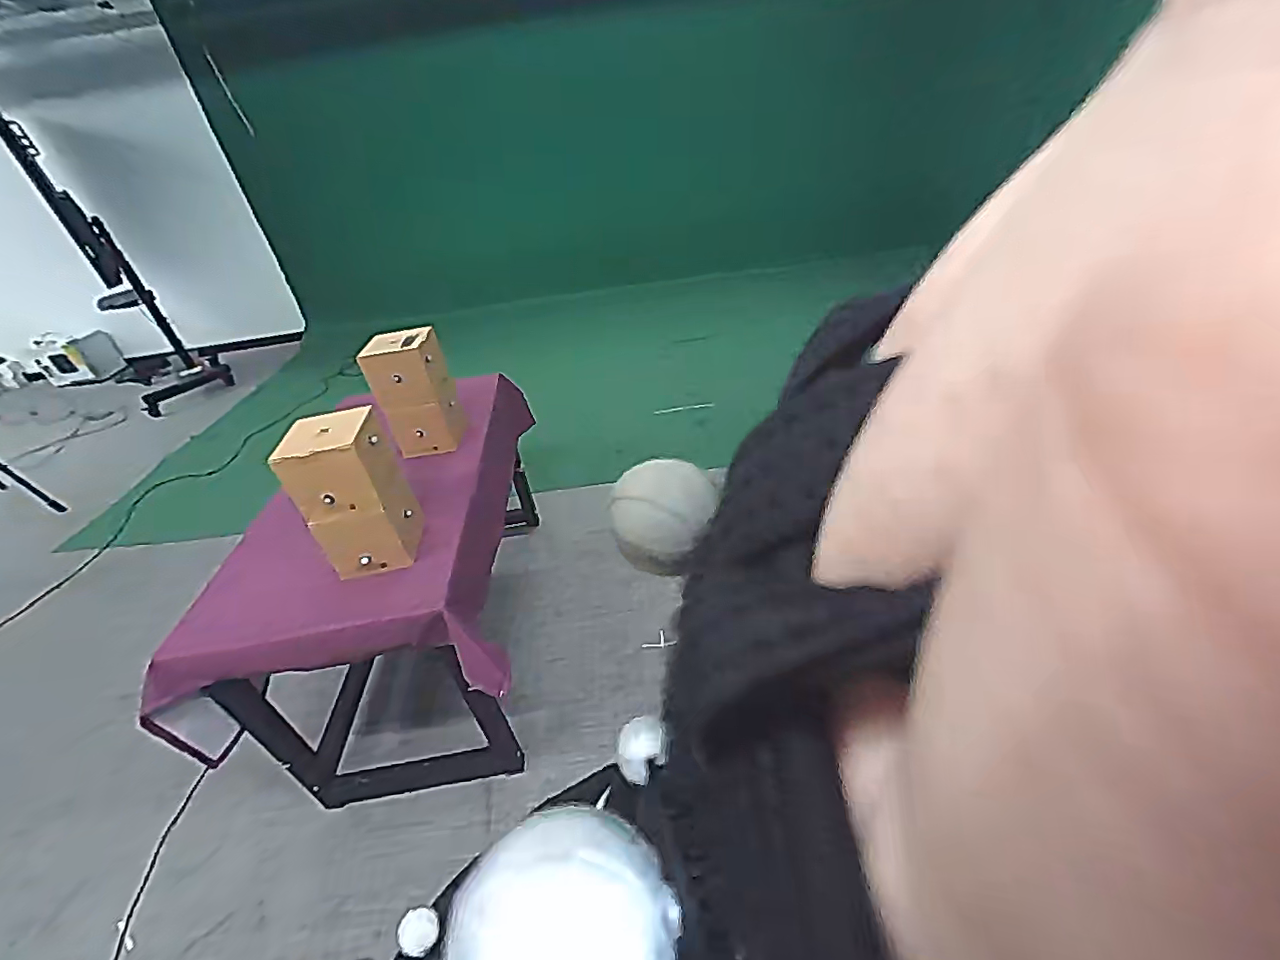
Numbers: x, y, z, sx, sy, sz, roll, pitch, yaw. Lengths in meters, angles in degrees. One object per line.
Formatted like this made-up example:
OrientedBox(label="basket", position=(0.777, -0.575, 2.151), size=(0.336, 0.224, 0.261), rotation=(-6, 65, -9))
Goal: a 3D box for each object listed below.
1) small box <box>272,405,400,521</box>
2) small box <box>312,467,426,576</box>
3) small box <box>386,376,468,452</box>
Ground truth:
OrientedBox(label="small box", position=(-0.642, -0.037, 1.170), size=(0.168, 0.176, 0.179), rotation=(-13, 36, -3))
OrientedBox(label="small box", position=(-0.617, 0.096, 1.261), size=(0.168, 0.176, 0.179), rotation=(-12, 36, -2))
OrientedBox(label="small box", position=(-0.649, -0.198, 1.672), size=(0.168, 0.176, 0.179), rotation=(-7, 36, 2))
